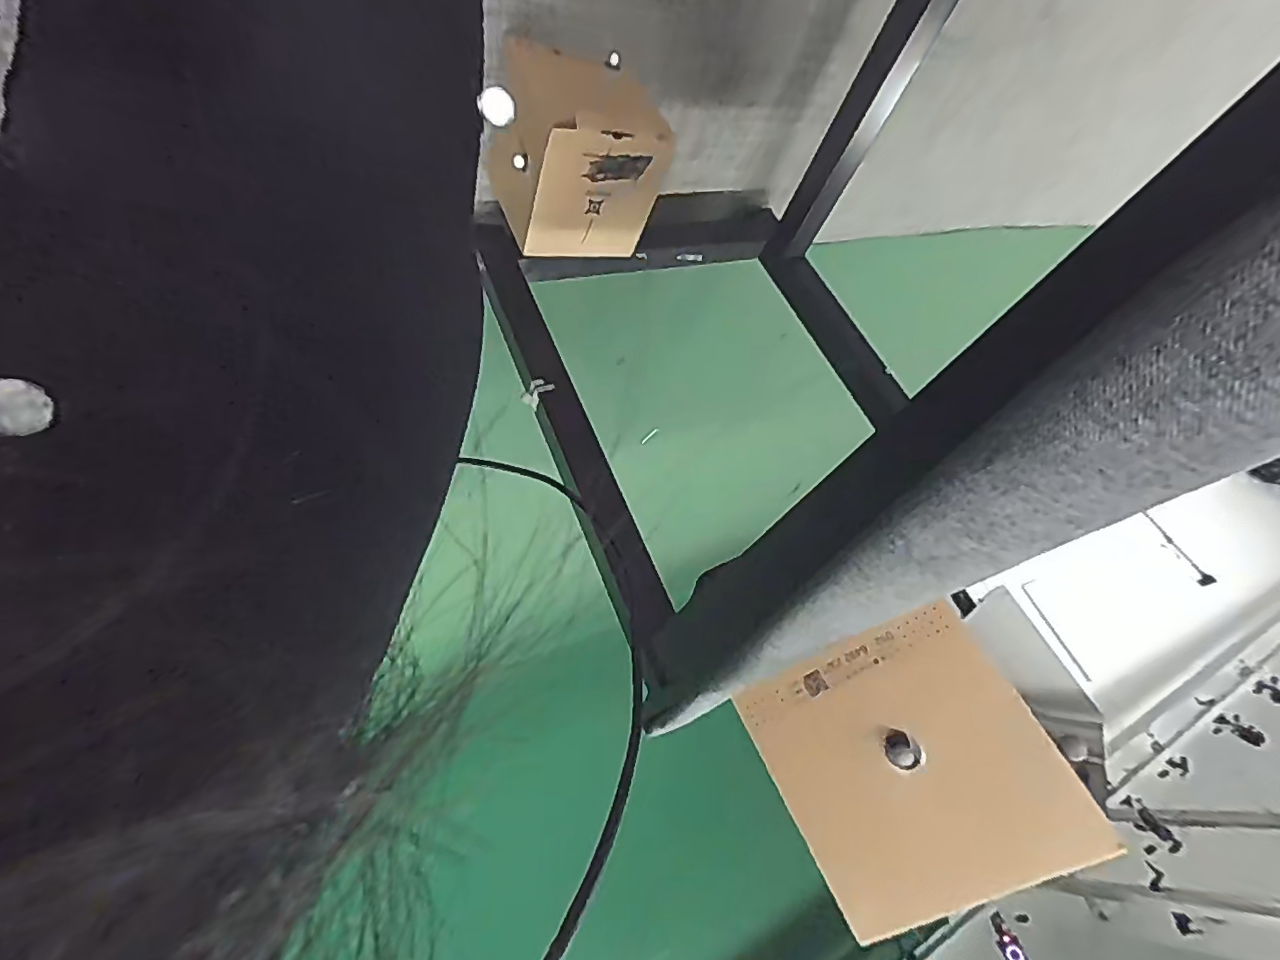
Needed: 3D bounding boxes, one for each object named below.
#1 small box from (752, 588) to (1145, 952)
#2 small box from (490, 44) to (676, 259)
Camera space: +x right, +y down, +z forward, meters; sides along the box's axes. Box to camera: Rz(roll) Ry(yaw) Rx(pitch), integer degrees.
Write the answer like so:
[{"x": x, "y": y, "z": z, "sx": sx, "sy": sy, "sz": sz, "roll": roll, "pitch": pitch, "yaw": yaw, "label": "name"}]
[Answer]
[{"x": 0.208, "y": 0.194, "z": 0.415, "sx": 0.168, "sy": 0.176, "sz": 0.179, "roll": -35, "pitch": 157, "yaw": 16, "label": "small box"}, {"x": -0.084, "y": -0.414, "z": 0.699, "sx": 0.168, "sy": 0.176, "sz": 0.179, "roll": -12, "pitch": 156, "yaw": -29, "label": "small box"}]
